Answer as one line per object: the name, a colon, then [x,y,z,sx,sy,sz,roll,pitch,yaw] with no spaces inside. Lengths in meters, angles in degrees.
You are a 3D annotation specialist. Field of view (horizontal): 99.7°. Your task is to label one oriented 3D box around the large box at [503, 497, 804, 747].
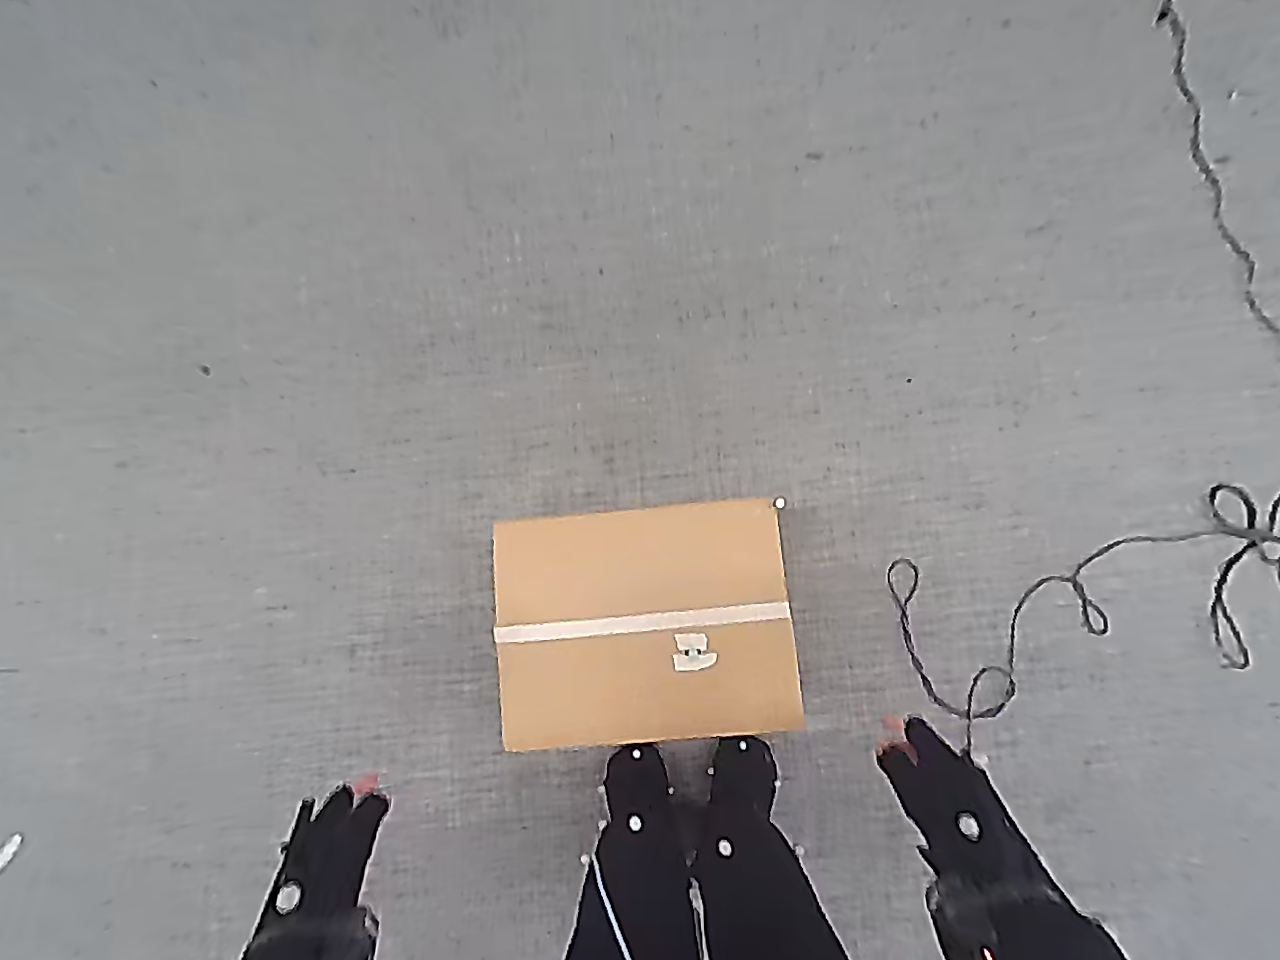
large box: [0.016,0.221,0.904,0.408,0.320,0.320,-6,81,2]
